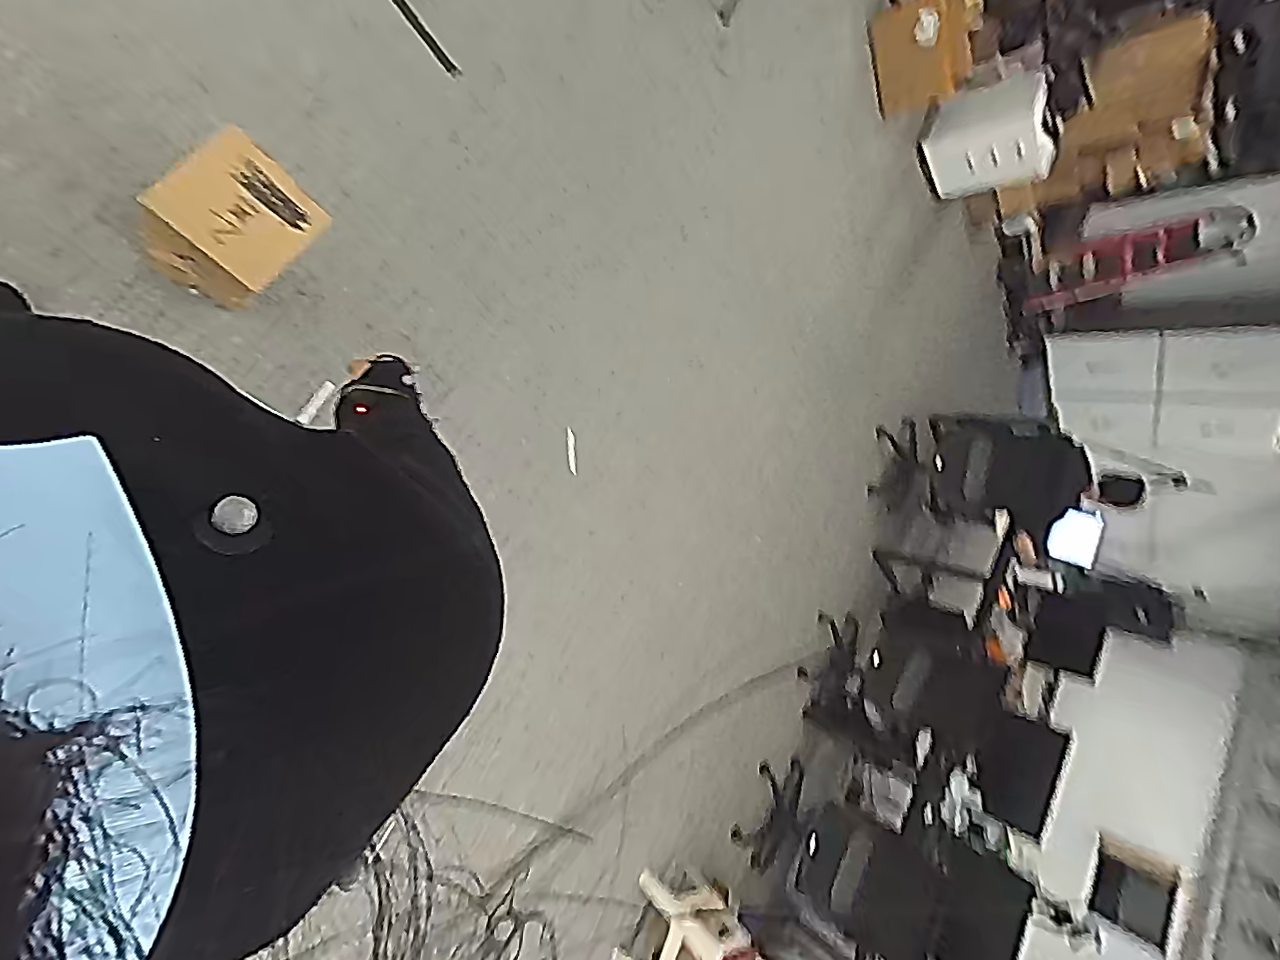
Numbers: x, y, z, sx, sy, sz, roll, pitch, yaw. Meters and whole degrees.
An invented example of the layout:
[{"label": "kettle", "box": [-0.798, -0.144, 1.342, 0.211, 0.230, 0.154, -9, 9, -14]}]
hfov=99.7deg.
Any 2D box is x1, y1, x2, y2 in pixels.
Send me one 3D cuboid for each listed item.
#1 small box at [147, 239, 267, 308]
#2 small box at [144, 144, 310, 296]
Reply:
[{"label": "small box", "box": [-0.856, -0.471, 1.092, 0.168, 0.176, 0.179, 31, 77, -42]}, {"label": "small box", "box": [-0.746, -0.456, 0.973, 0.168, 0.176, 0.179, 47, 67, -39]}]
